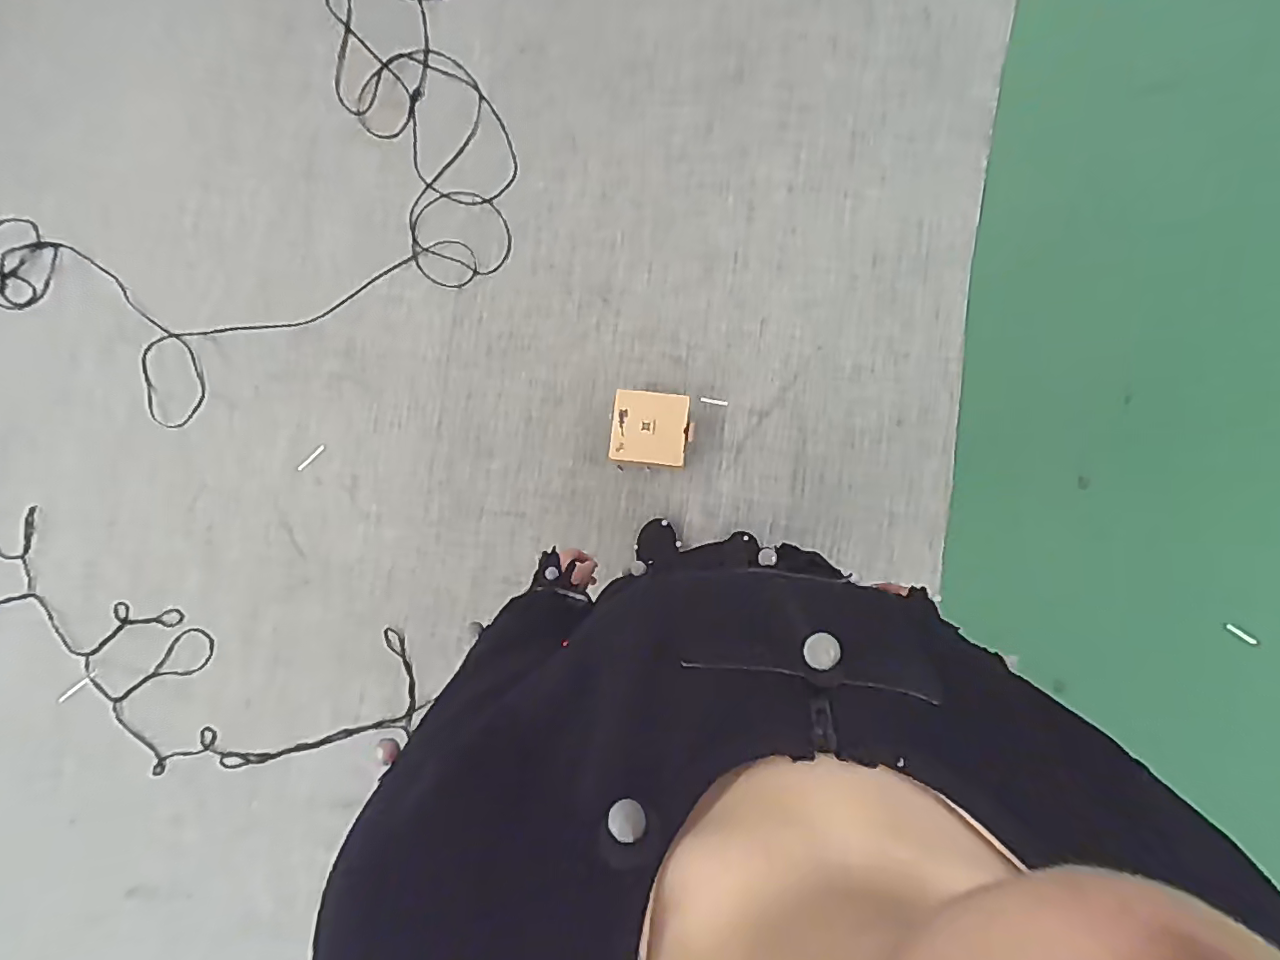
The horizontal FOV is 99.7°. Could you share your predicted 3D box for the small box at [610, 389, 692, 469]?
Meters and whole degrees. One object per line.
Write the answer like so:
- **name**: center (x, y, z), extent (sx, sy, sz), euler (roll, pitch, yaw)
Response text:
- **small box**: center (0.030, -0.118, 1.323), extent (0.179, 0.176, 0.168), euler (6, 87, 4)
